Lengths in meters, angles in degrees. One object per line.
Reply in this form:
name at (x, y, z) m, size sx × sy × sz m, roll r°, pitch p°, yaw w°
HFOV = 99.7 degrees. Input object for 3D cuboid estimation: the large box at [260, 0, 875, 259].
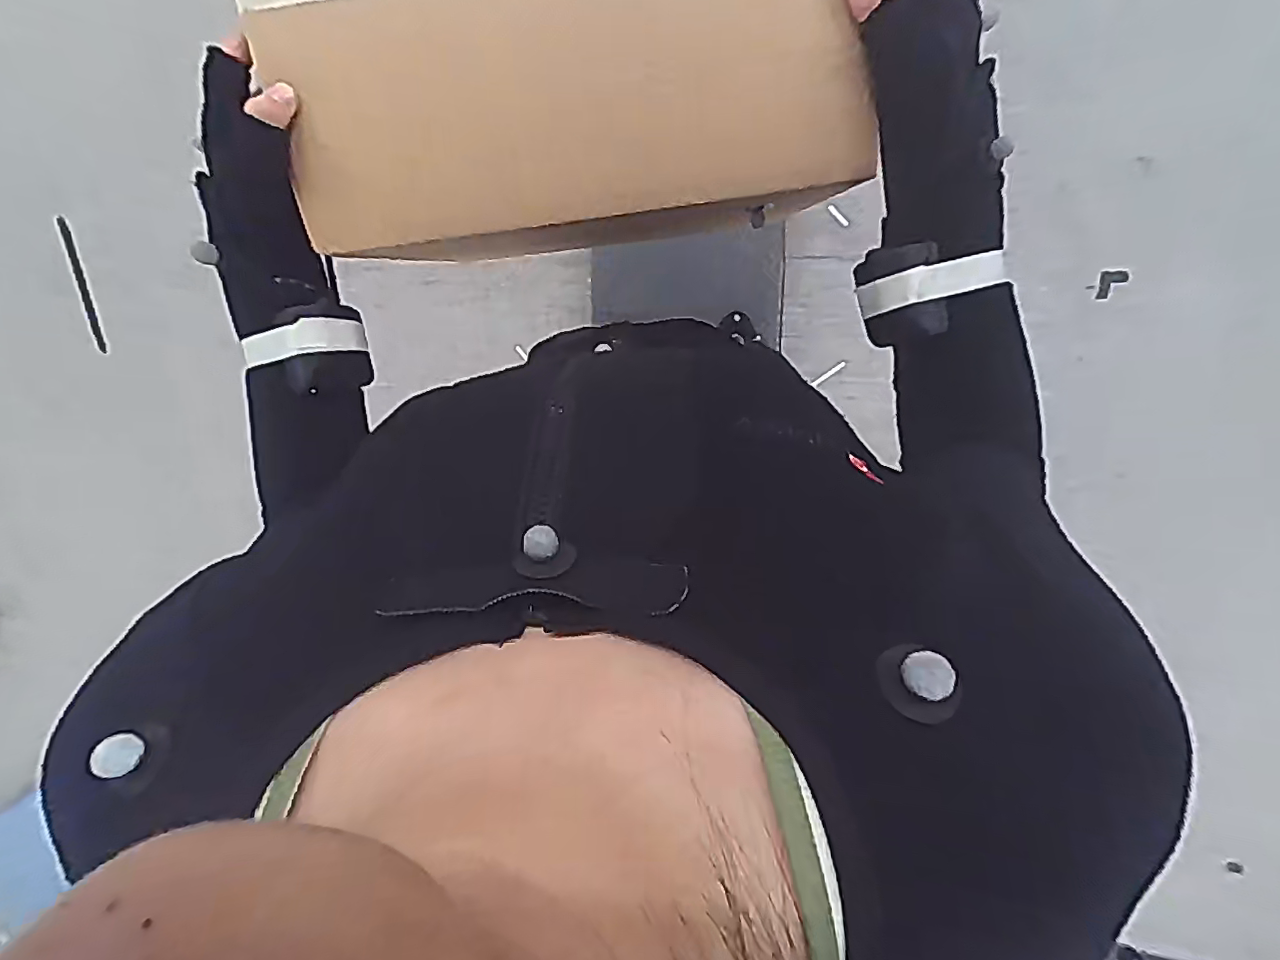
large box at (-0.047, -0.385, 0.479) m, size 0.408 × 0.320 × 0.320 m, roll -6°, pitch 110°, yaw 3°
